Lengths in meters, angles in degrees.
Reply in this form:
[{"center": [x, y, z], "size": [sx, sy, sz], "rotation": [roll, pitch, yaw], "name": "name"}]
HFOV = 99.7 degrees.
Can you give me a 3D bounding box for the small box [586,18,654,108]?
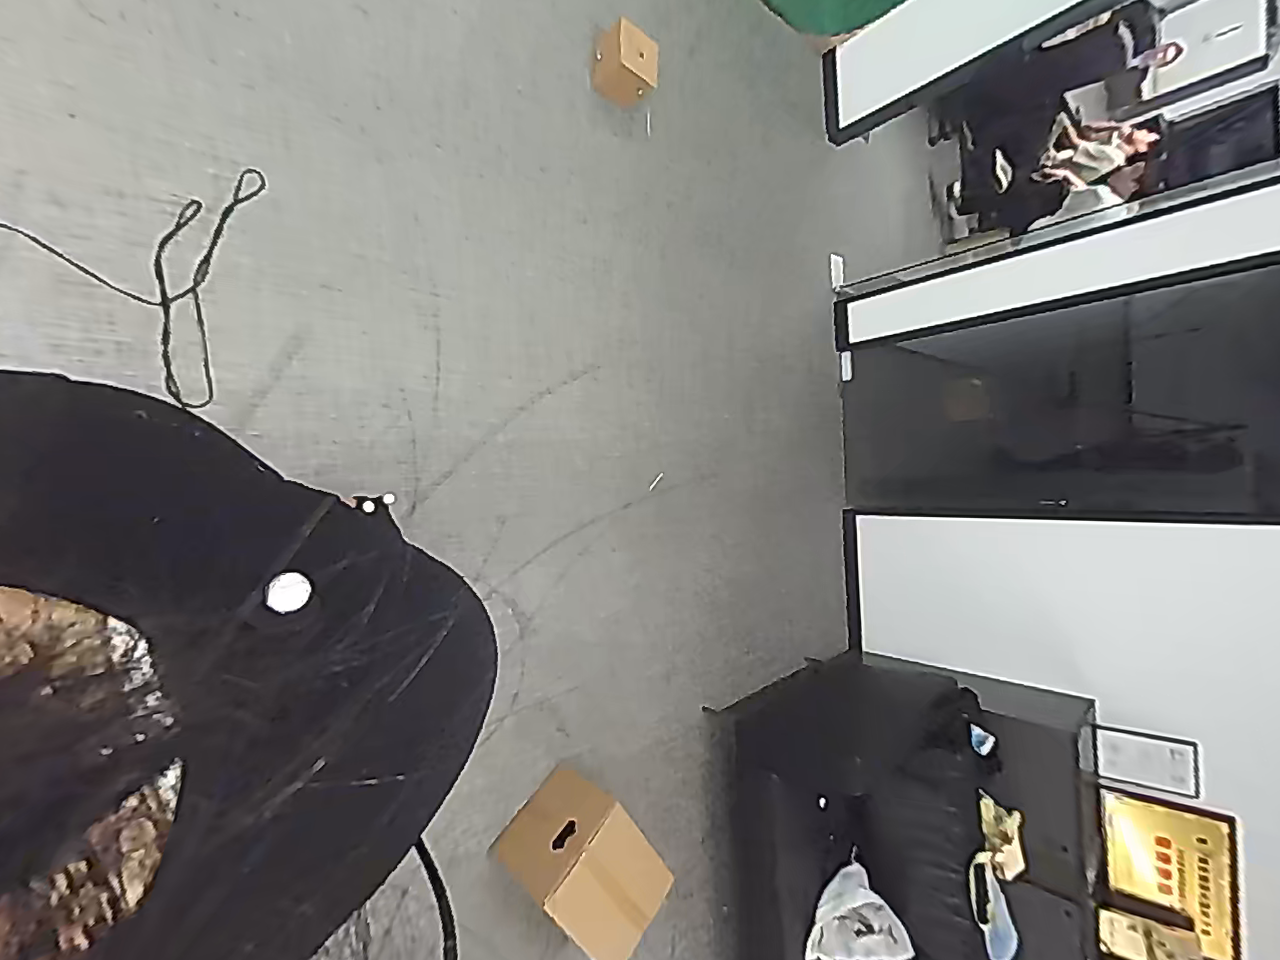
[{"center": [-0.071, -1.482, 1.940], "size": [0.179, 0.176, 0.168], "rotation": [4, 86, -43], "name": "small box"}]
